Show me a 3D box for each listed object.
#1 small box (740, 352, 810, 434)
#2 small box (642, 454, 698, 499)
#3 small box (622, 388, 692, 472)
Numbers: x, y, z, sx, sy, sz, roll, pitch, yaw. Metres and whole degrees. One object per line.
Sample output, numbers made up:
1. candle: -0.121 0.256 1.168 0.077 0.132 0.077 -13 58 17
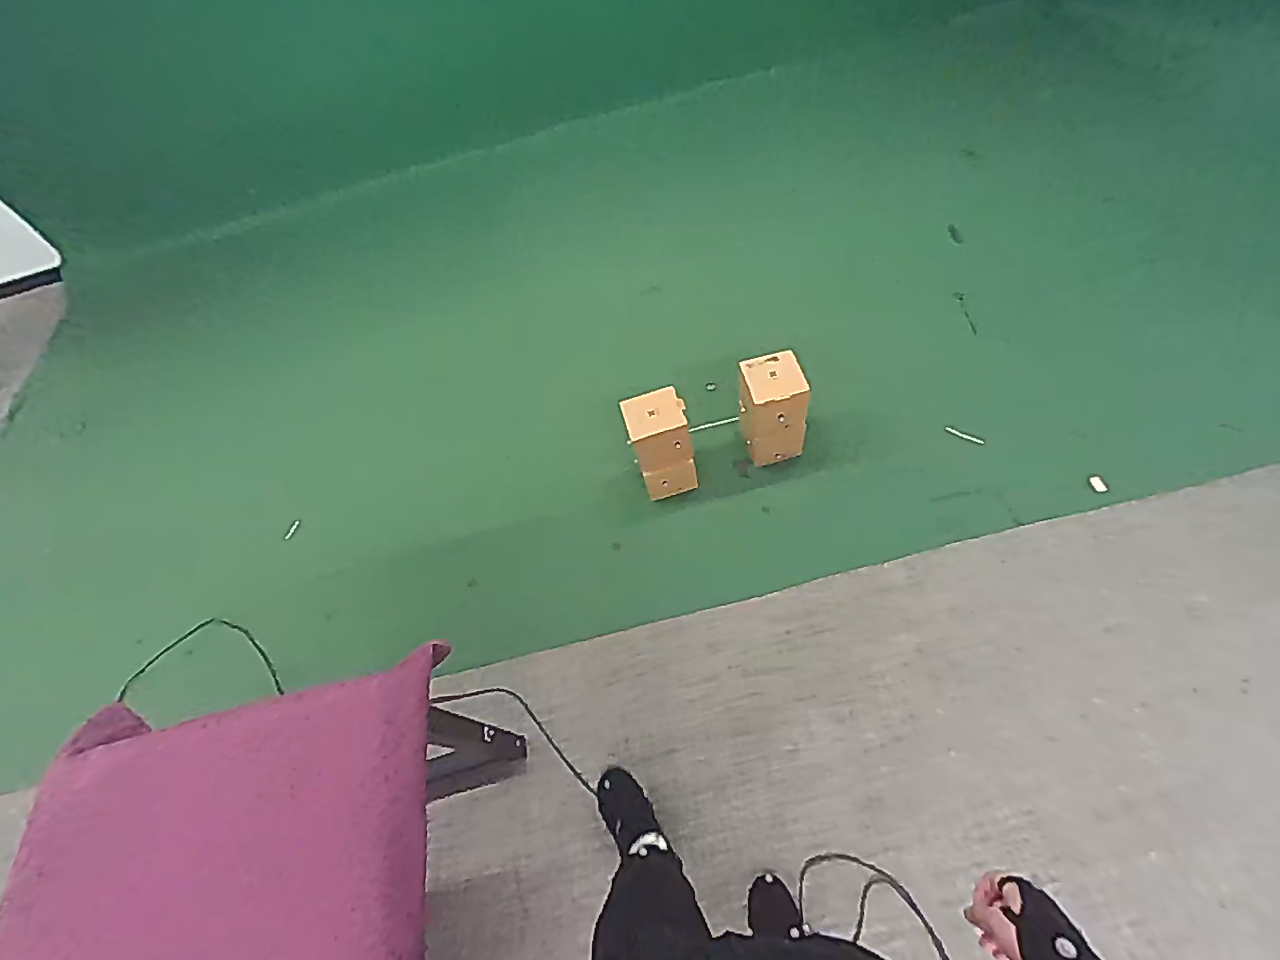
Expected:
1. small box: 0.411 -0.260 1.666 0.168 0.176 0.179 -13 58 2
2. small box: 0.088 -0.053 1.802 0.168 0.176 0.179 -17 56 1
3. small box: 0.057 -0.152 1.676 0.179 0.176 0.168 -17 55 1
